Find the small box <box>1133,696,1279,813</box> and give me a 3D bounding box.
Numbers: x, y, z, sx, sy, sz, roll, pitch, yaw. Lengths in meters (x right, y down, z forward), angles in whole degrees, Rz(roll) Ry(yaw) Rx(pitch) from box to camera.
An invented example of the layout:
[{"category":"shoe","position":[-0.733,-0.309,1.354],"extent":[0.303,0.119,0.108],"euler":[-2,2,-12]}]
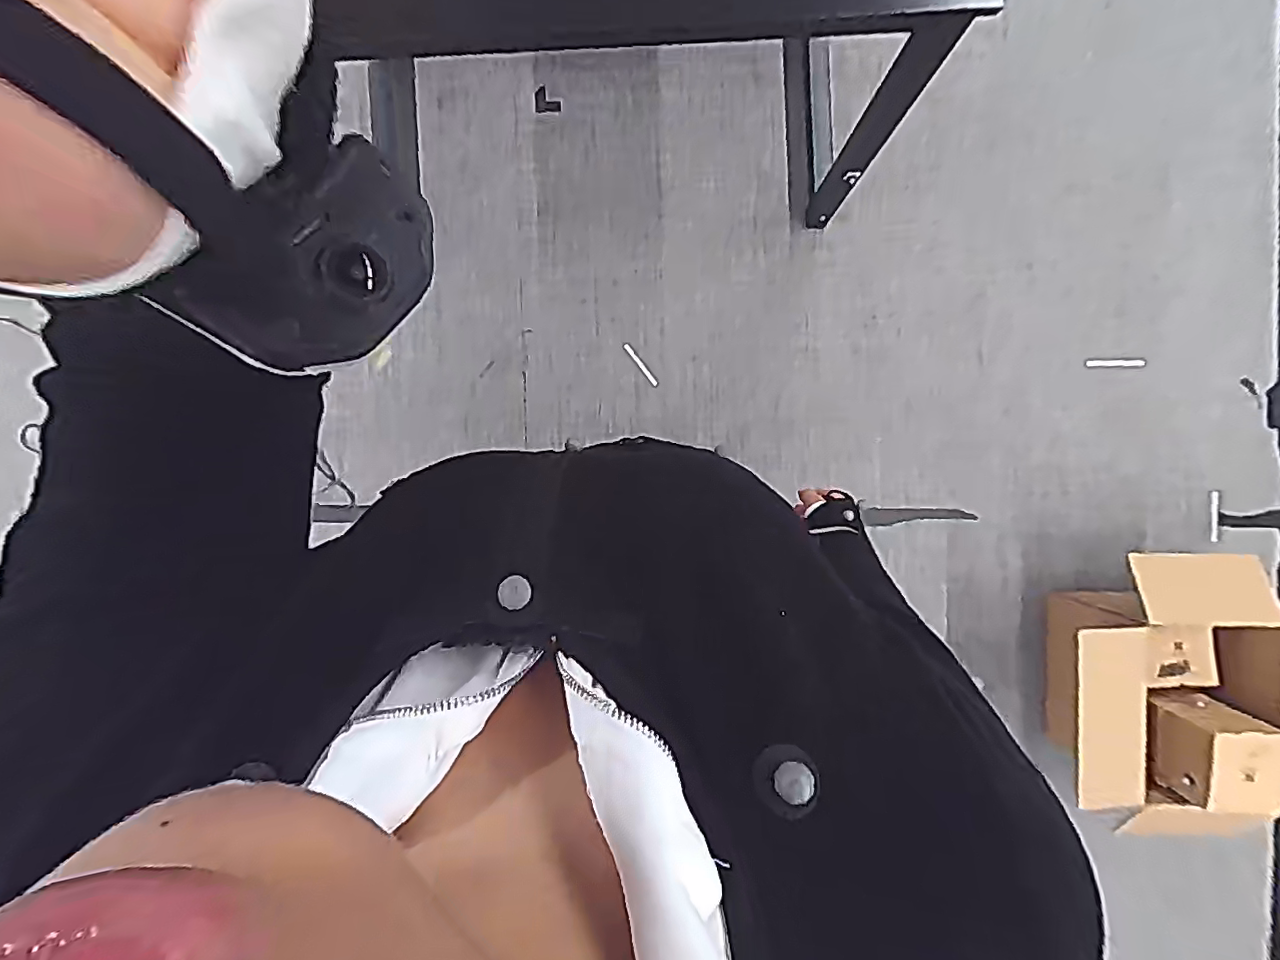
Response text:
[{"category":"small box","position":[1.268,0.612,1.218],"extent":[0.168,0.176,0.179],"euler":[1,93,0]}]
